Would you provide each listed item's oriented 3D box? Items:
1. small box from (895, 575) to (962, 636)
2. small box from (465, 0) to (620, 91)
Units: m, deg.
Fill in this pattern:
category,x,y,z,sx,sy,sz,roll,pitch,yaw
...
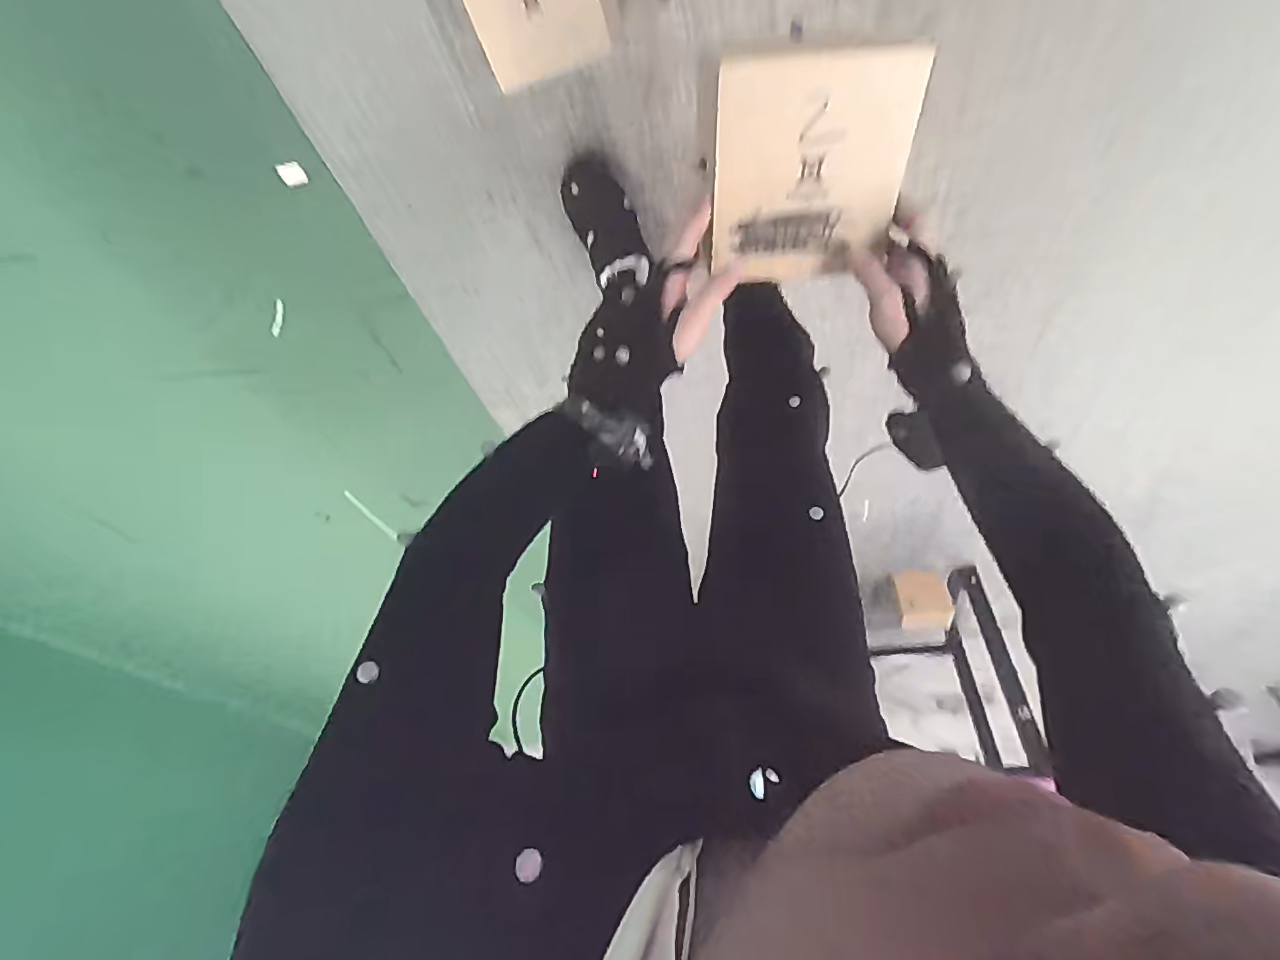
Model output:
category,x,y,z,sx,sy,sz,roll,pitch,yaw
small box,1.077,0.469,2.030,0.179,0.176,0.168,-8,140,15
small box,-0.131,-0.661,0.710,0.168,0.176,0.179,-9,140,14
